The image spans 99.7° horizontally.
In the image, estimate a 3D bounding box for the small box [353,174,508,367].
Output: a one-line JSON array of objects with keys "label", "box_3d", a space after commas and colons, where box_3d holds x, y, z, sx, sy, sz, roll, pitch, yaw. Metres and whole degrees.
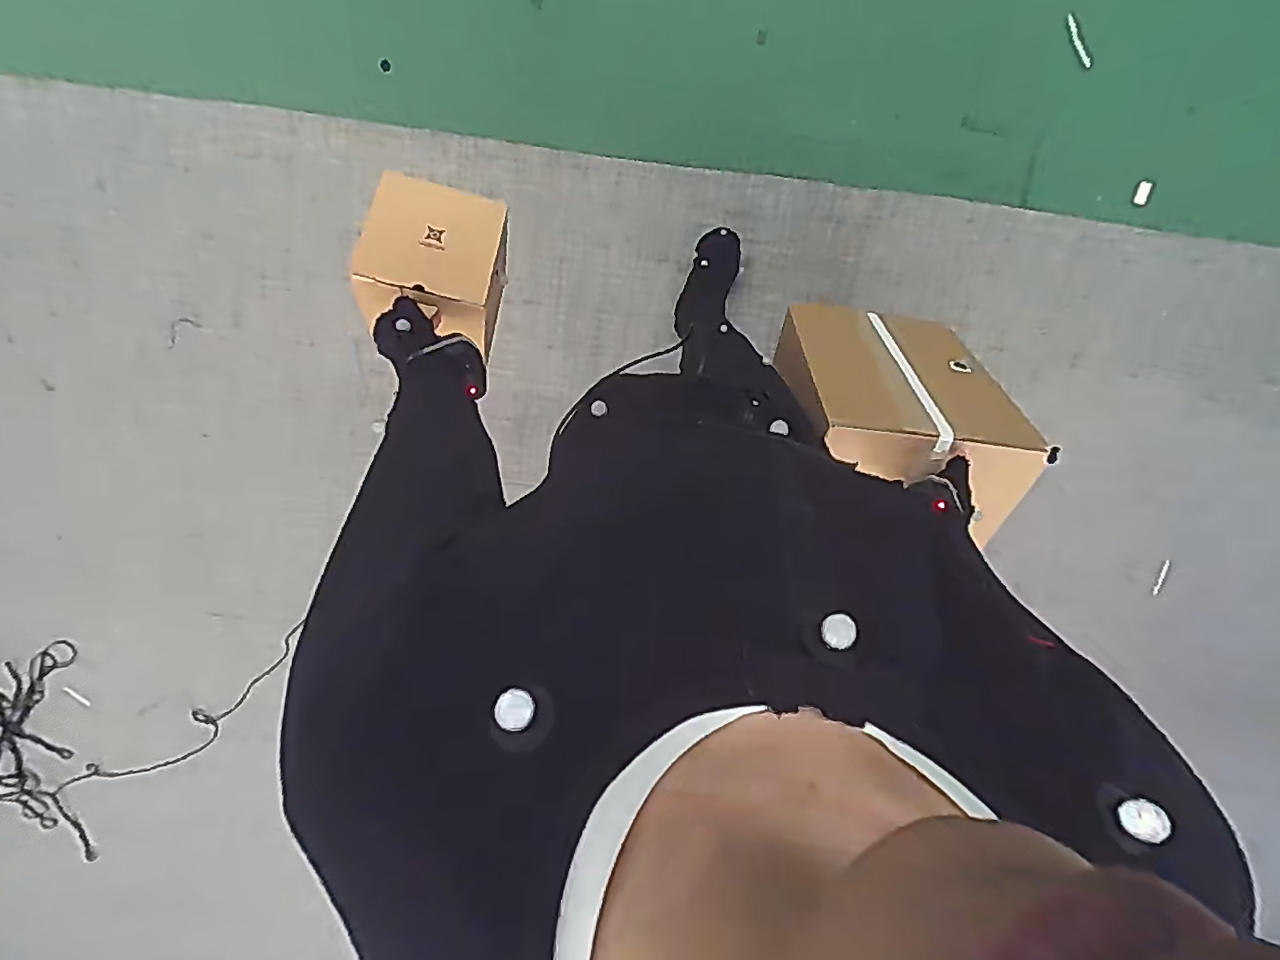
[{"label": "small box", "box_3d": [-0.295, -0.295, 0.791, 0.168, 0.176, 0.179, 10, 70, -12]}]
